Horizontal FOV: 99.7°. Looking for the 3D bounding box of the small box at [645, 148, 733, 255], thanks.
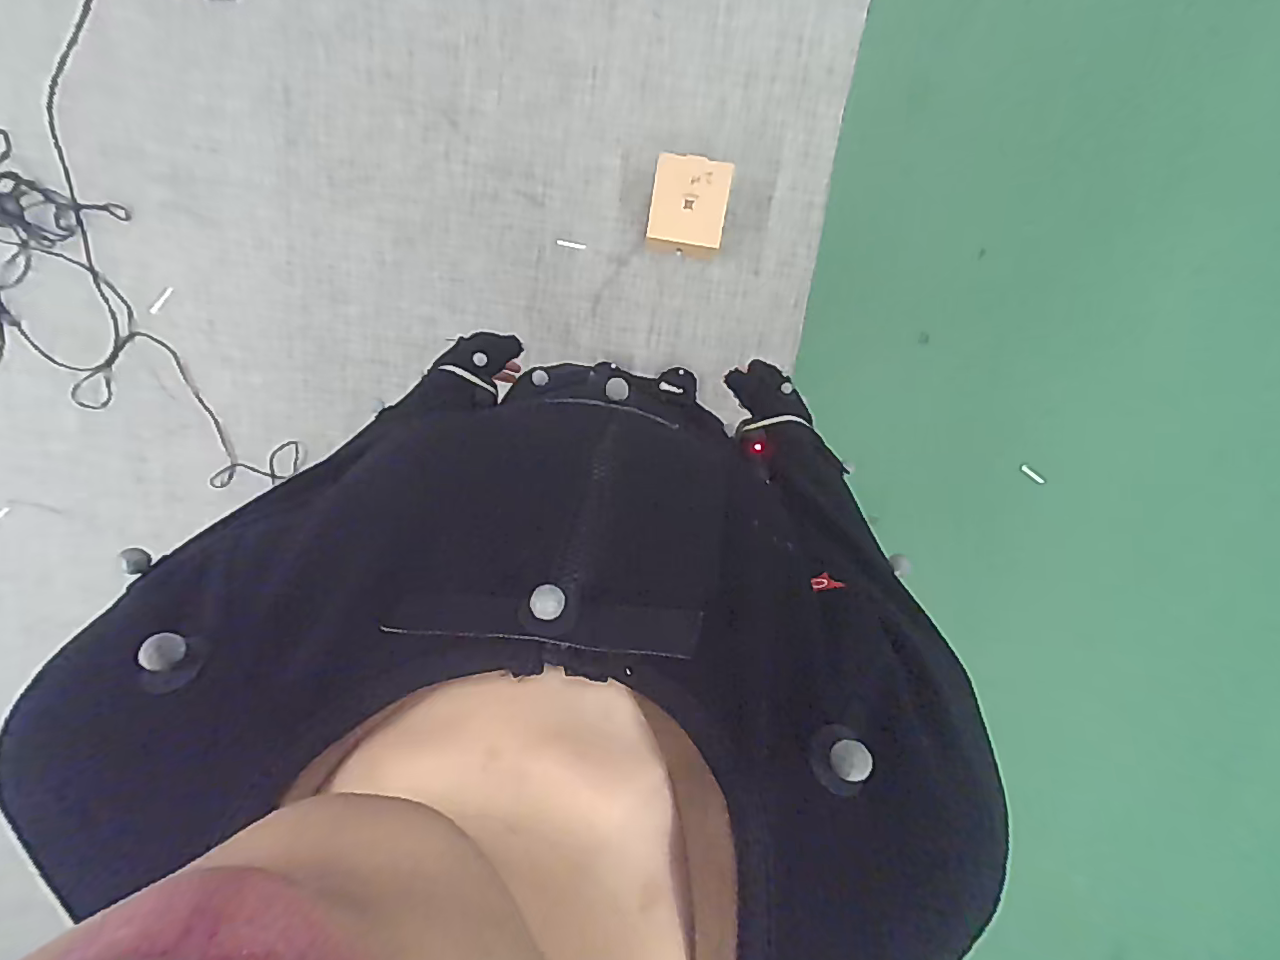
[{"bbox_3d":[0.107,-0.630,1.245,0.168,0.176,0.179,9,104,-1],"label":"small box"}]
